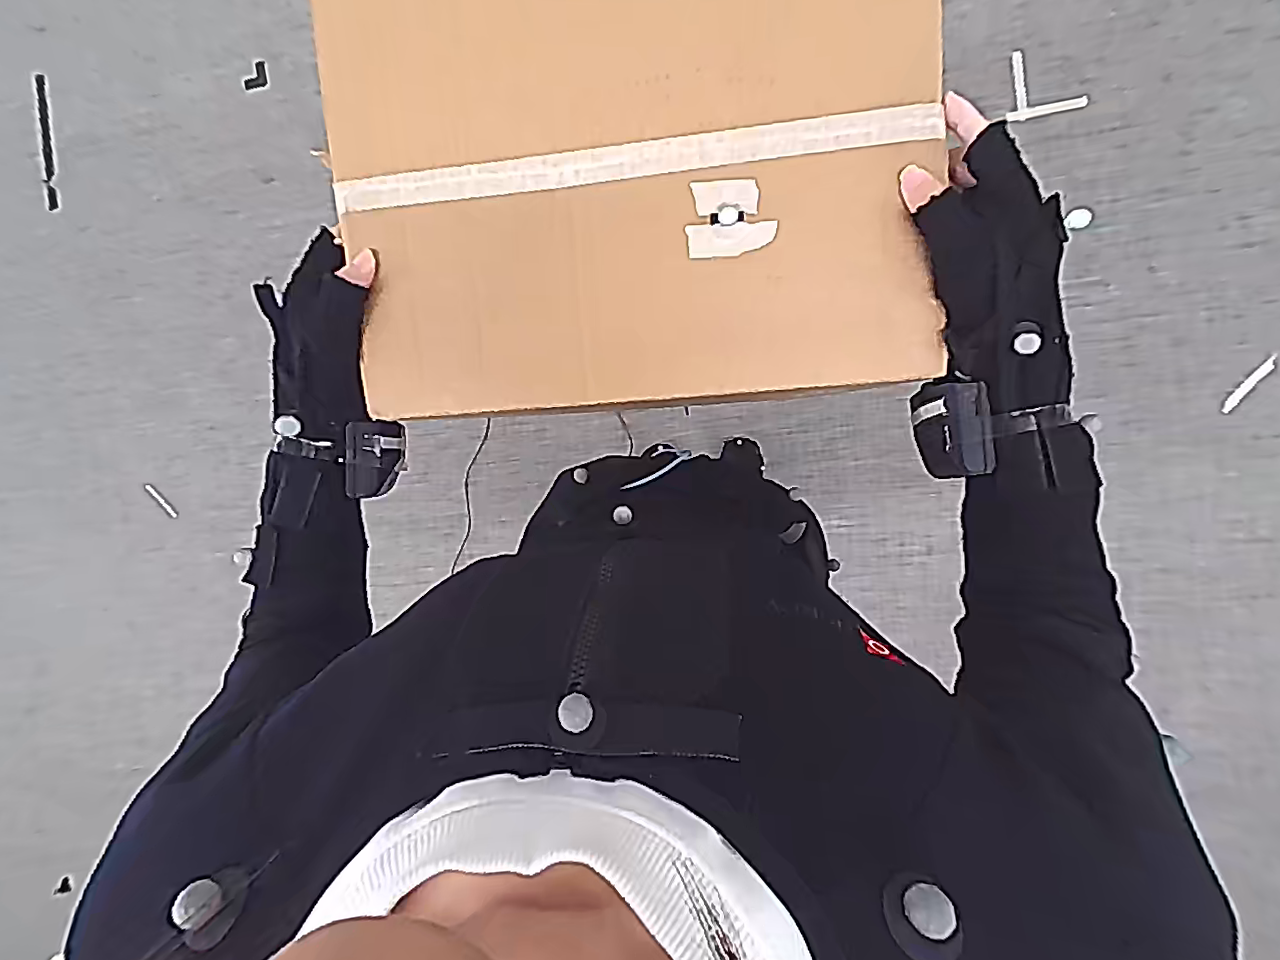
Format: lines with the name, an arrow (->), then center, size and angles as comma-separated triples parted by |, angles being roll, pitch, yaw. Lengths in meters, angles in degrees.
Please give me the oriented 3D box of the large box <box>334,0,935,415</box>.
large box -> 0.005, -0.235, 0.522 | 0.408, 0.320, 0.320 | -4, 97, 6
